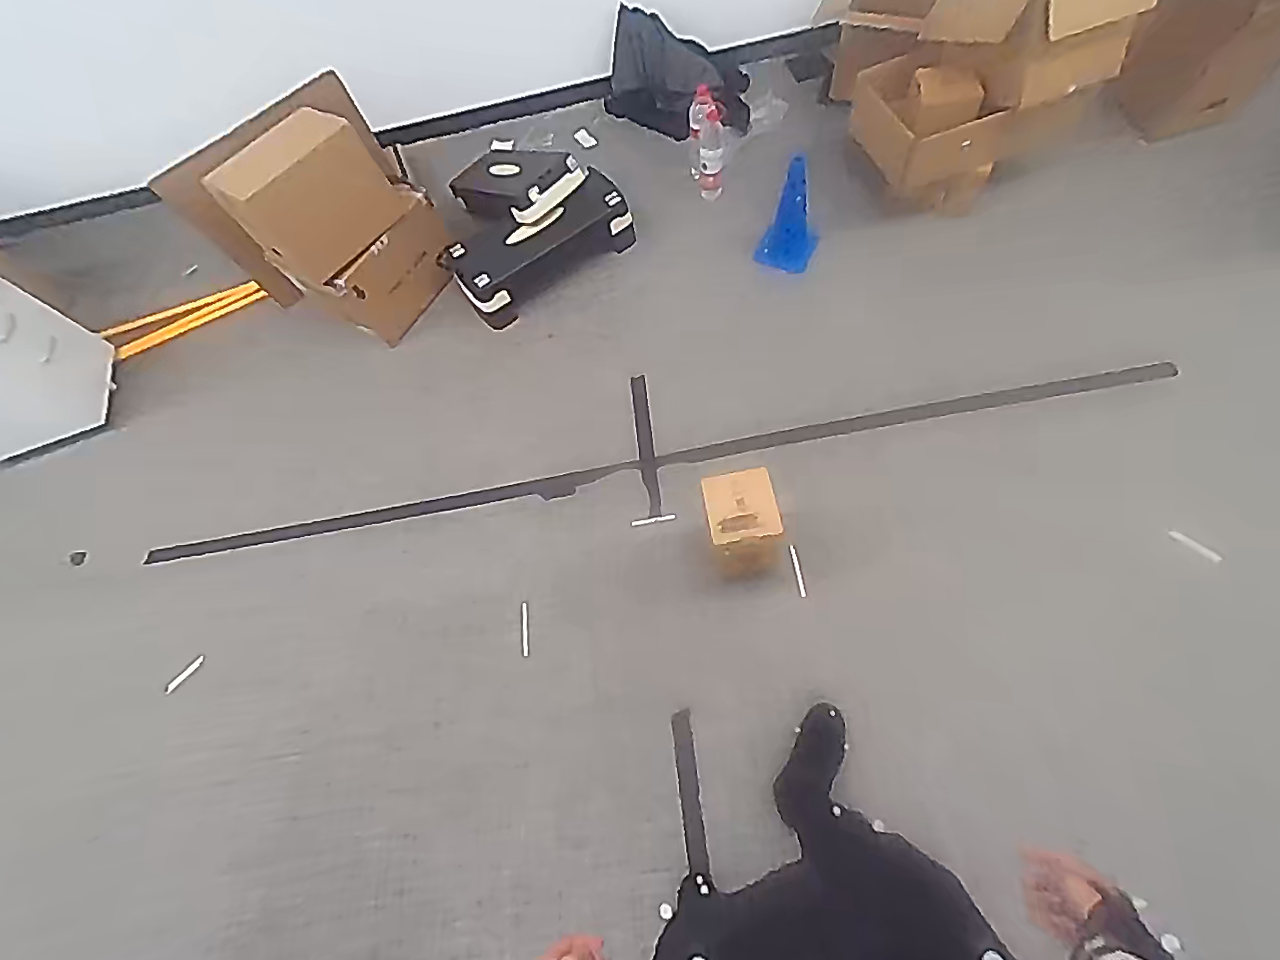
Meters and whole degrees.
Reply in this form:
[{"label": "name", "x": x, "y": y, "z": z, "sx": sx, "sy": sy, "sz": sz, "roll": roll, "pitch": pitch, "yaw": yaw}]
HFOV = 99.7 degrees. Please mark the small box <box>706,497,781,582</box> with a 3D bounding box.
[{"label": "small box", "x": 0.283, "y": 0.169, "z": 1.503, "sx": 0.168, "sy": 0.176, "sz": 0.179, "roll": -13, "pitch": 66, "yaw": 4}]
